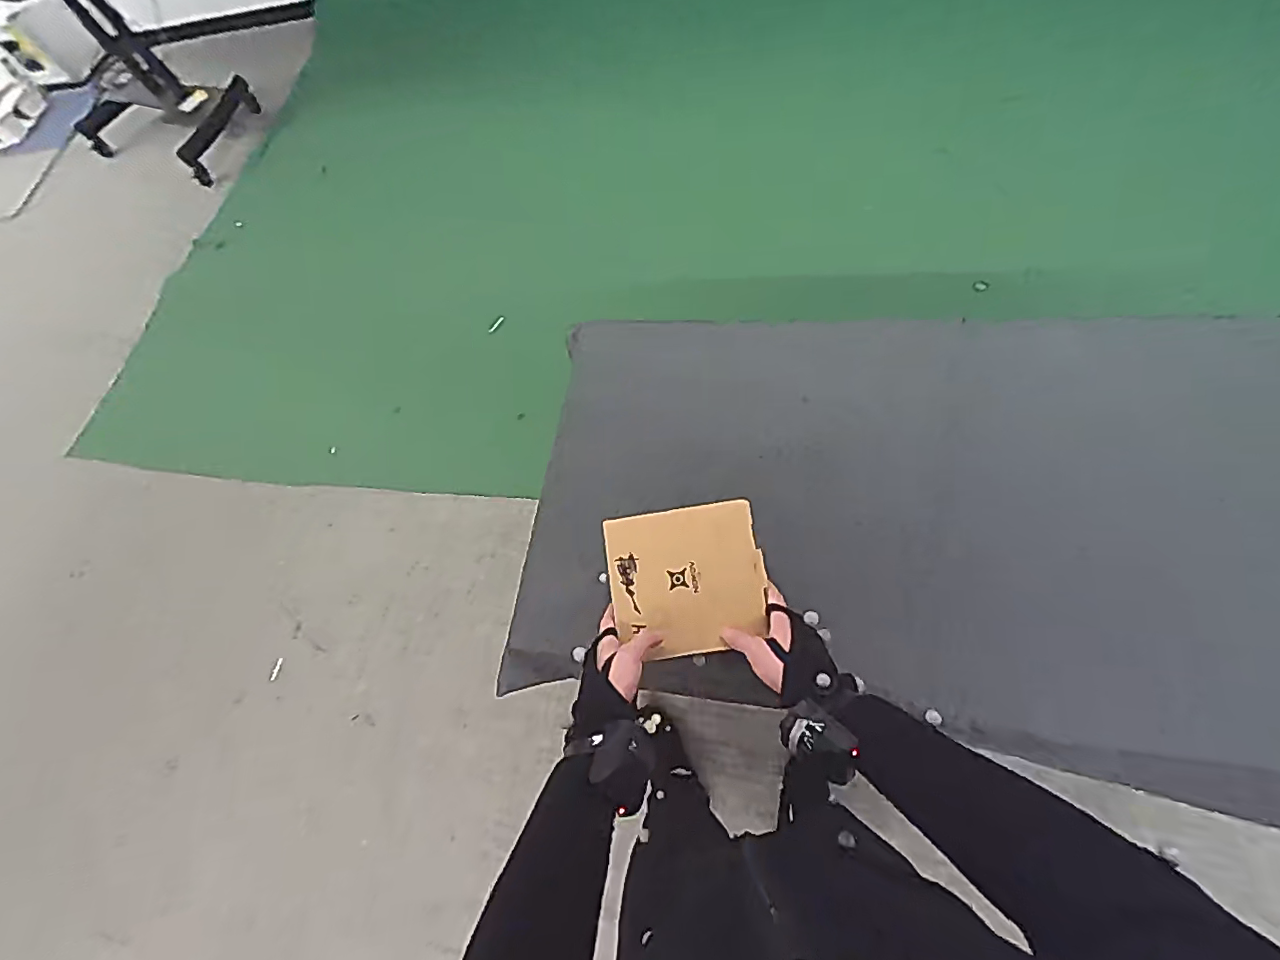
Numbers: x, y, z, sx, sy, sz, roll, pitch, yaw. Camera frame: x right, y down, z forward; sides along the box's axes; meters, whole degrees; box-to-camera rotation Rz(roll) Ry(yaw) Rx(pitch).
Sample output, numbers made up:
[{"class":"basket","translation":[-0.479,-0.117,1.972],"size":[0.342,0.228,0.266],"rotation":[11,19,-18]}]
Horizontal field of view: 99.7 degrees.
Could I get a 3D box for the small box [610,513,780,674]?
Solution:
[{"class":"small box","translation":[0.064,0.148,0.692],"size":[0.179,0.176,0.168],"rotation":[-8,72,3]}]
